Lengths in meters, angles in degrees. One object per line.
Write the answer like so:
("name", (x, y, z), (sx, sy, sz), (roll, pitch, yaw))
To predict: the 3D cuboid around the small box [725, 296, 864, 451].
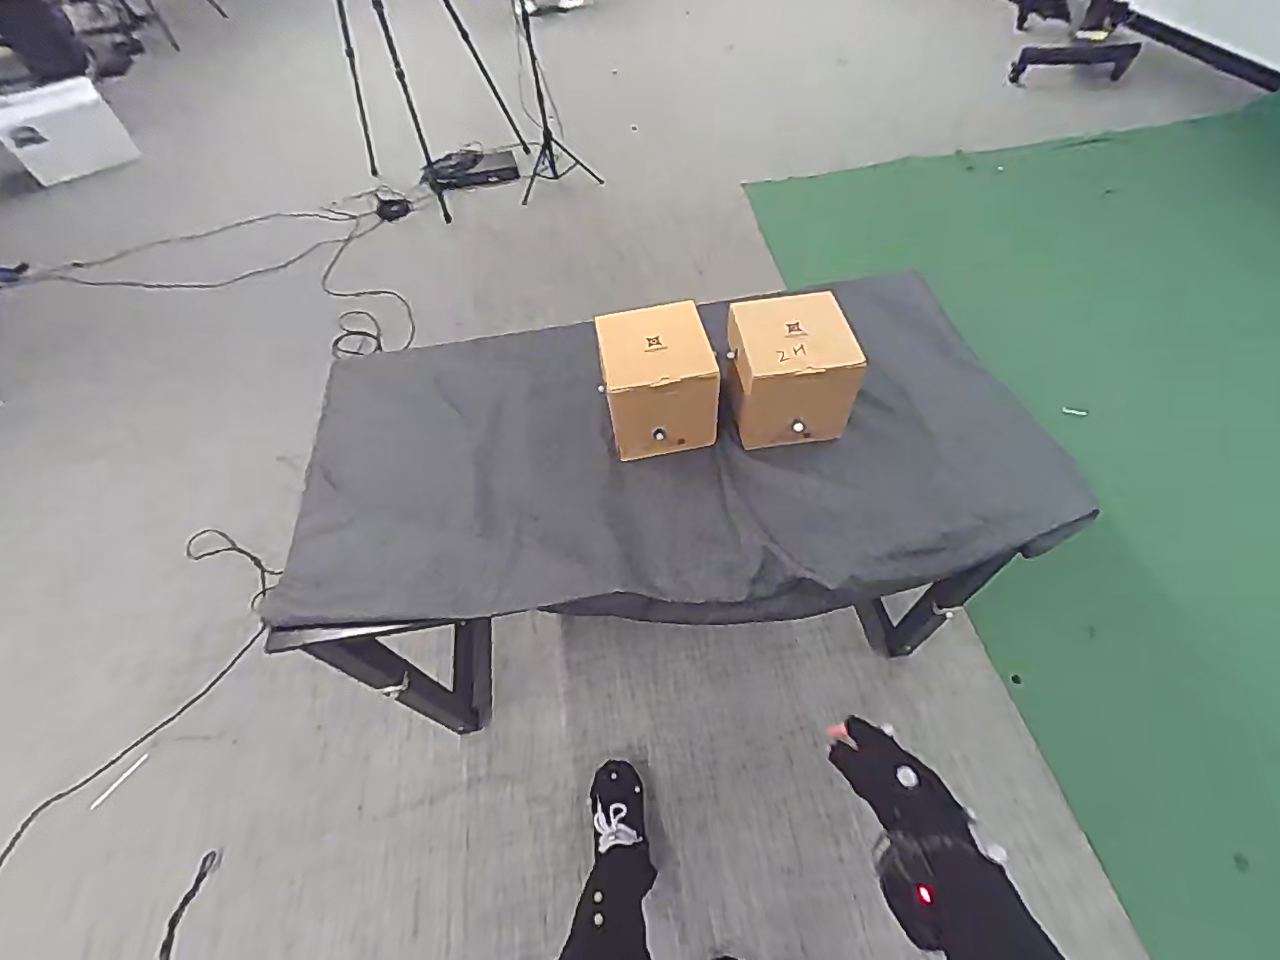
("small box", (0.237, -0.171, 0.883), (0.168, 0.176, 0.179), (-7, 55, 0))
